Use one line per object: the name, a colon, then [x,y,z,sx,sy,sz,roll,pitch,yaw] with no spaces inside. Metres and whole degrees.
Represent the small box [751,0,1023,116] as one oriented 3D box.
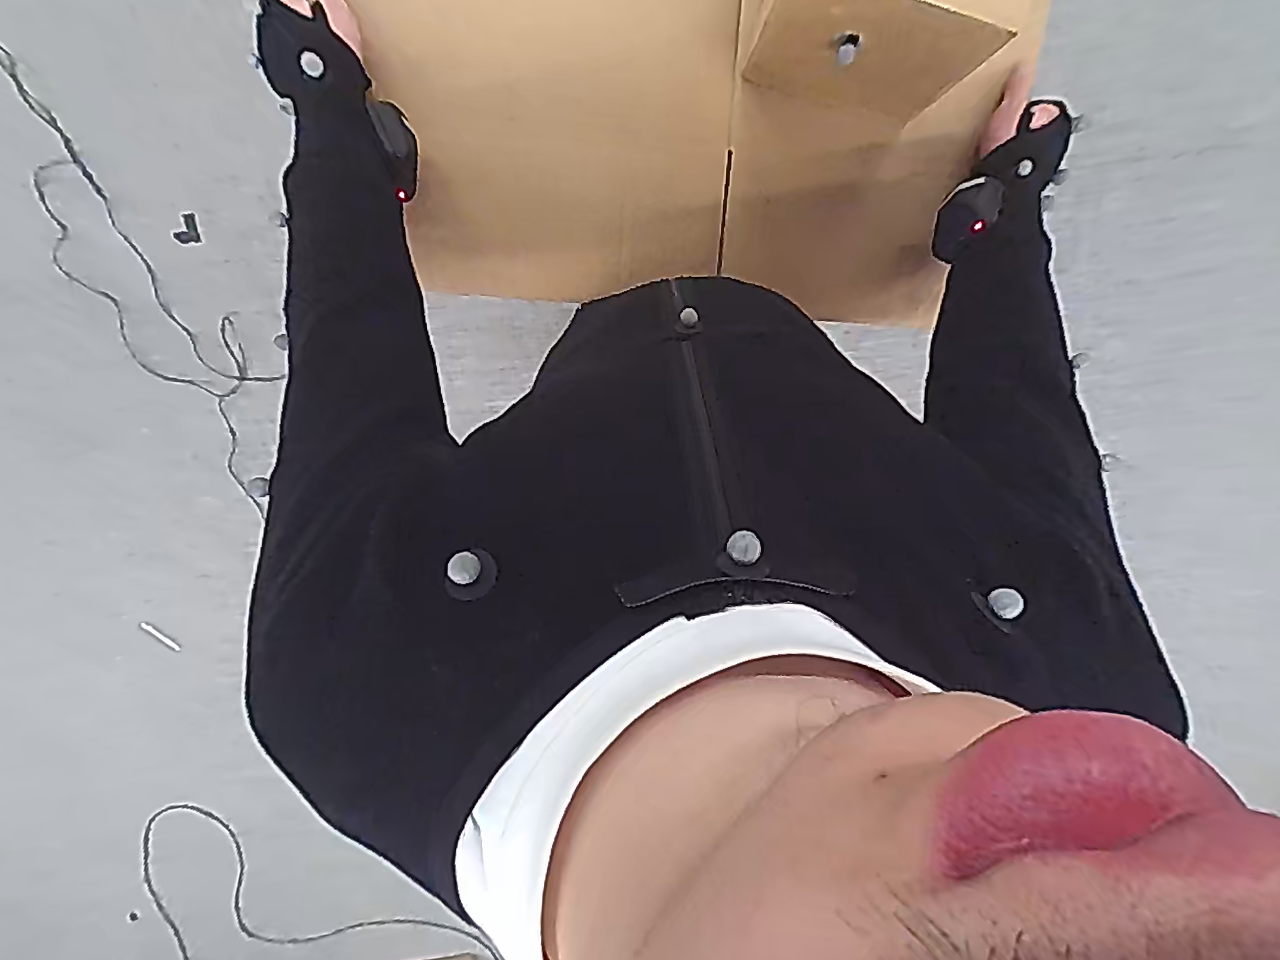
small box: [0.207,-0.440,0.448,0.179,0.176,0.168,13,104,-4]
